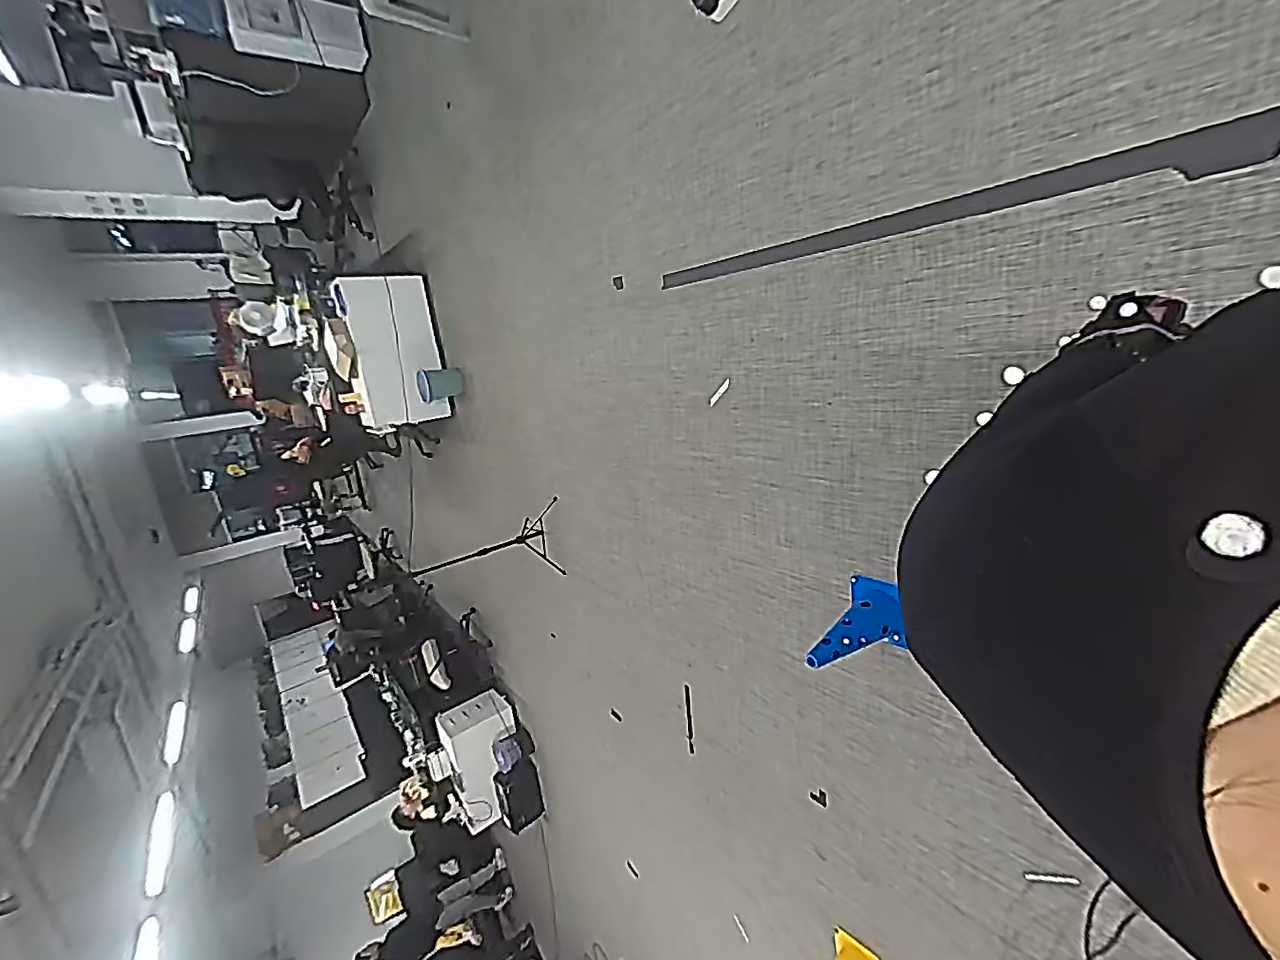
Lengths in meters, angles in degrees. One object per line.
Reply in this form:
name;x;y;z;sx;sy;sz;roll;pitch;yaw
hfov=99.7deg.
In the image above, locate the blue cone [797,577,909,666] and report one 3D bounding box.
blue cone;0.586;0.435;1.533;0.192;0.380;0.193;14;115;52
